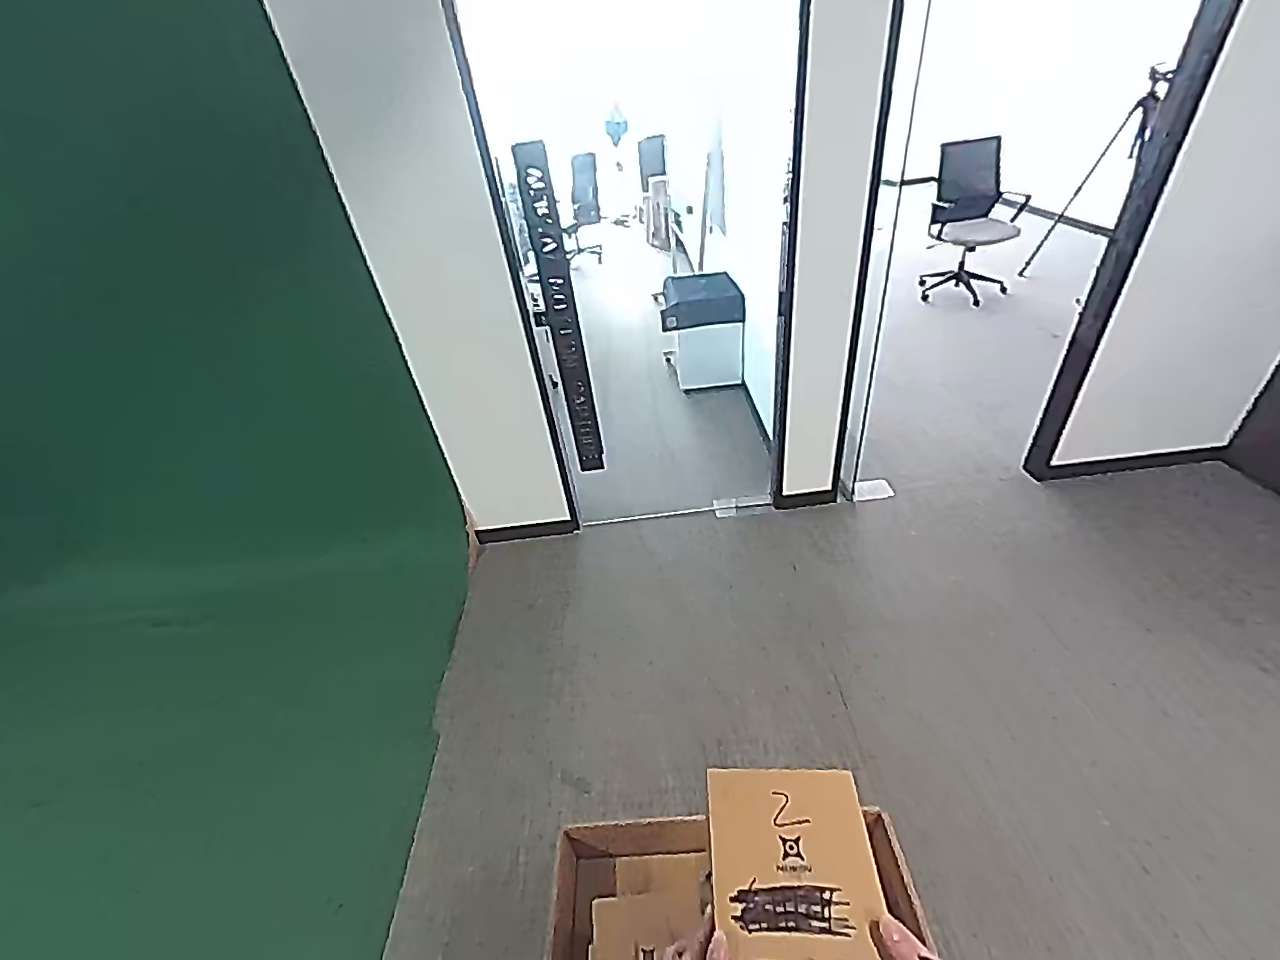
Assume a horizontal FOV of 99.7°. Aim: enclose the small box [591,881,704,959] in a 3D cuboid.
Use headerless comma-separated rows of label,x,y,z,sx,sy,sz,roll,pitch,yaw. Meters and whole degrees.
small box,0.017,0.797,0.898,0.179,0.176,0.168,-5,37,1
